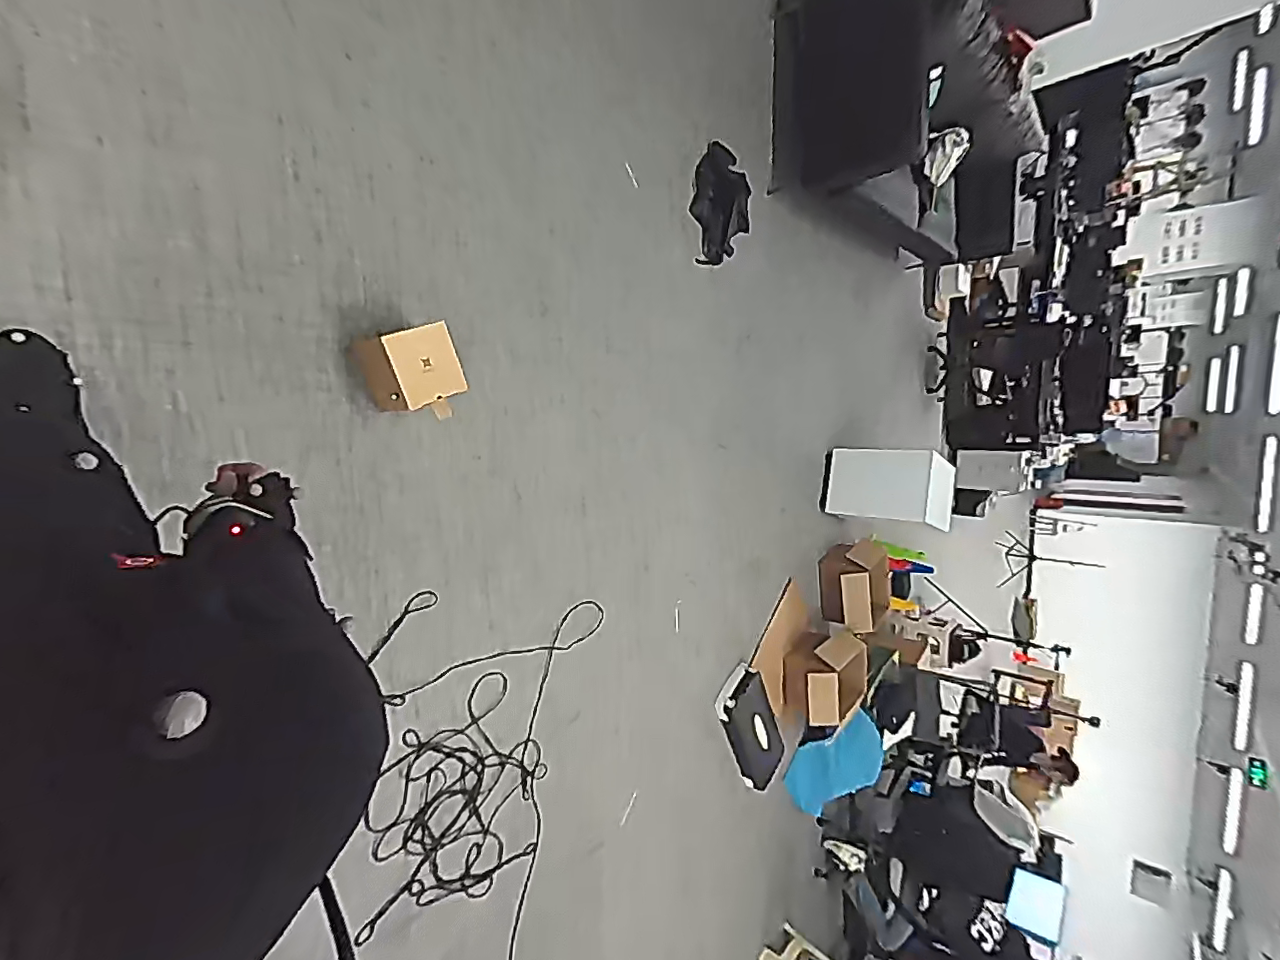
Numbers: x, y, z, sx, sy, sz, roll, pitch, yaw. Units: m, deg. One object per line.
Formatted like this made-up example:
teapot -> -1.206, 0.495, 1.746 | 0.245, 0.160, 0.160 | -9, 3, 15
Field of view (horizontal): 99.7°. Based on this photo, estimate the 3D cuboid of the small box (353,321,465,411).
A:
small box -> -0.569, -0.276, 1.328 | 0.168, 0.176, 0.179 | -34, 119, -41
